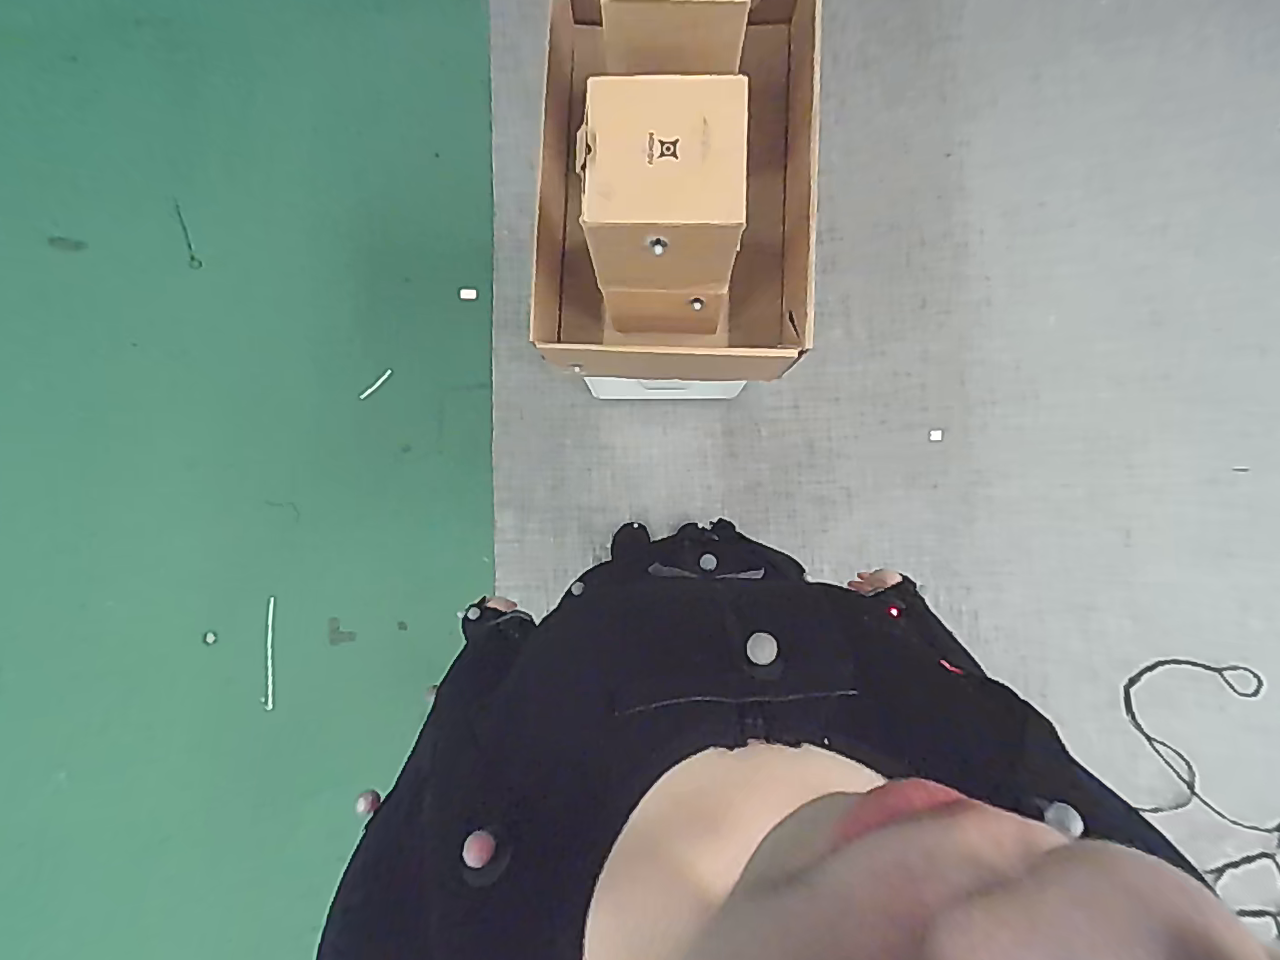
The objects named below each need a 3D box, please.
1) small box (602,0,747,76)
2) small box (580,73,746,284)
[{"bbox_3d":[0.043,-0.606,0.669,0.168,0.176,0.179,4,90,1],"label":"small box"},{"bbox_3d":[0.027,-0.352,0.661,0.179,0.176,0.168,2,87,1],"label":"small box"}]
